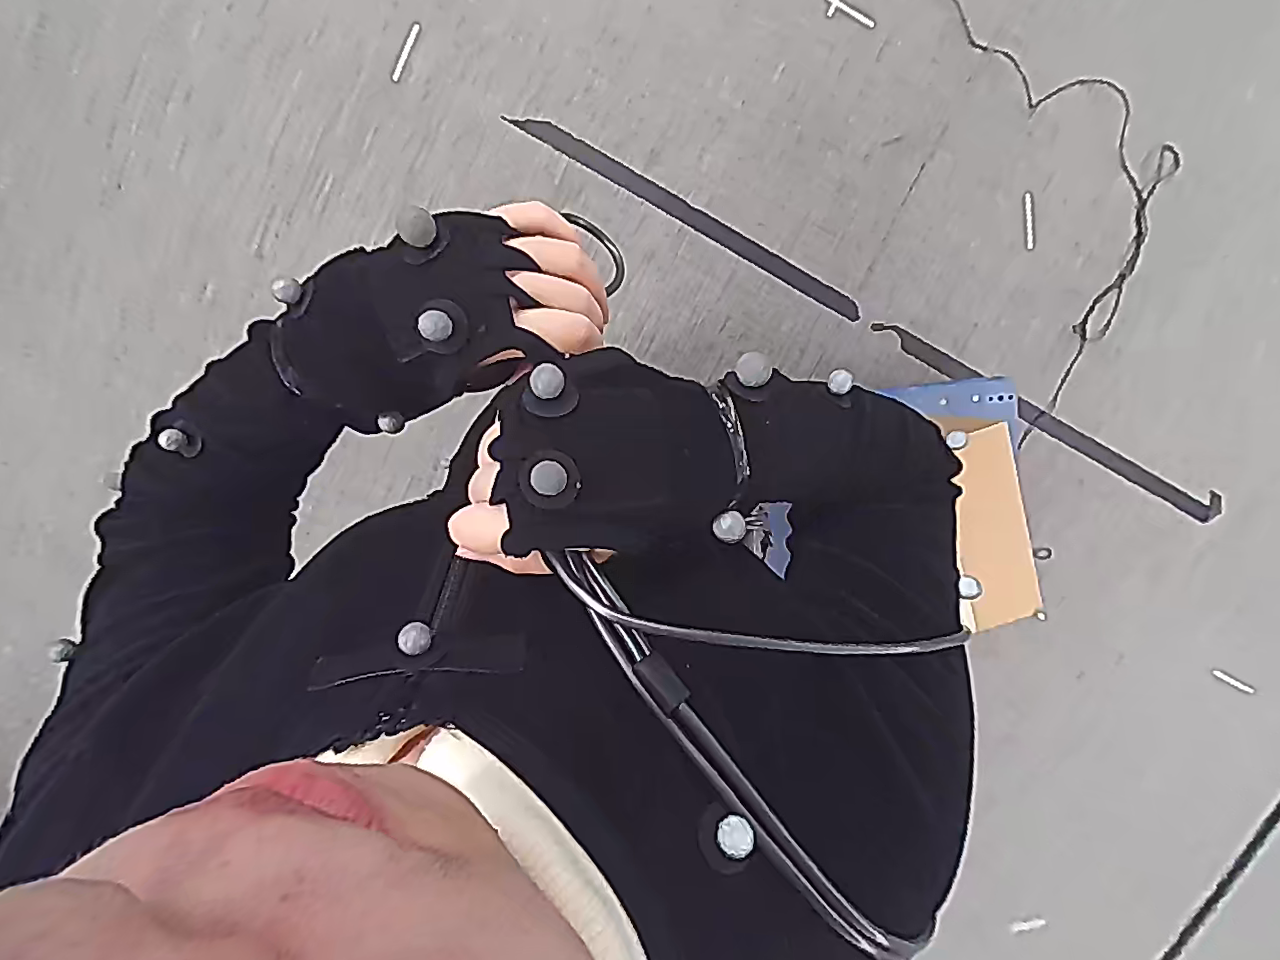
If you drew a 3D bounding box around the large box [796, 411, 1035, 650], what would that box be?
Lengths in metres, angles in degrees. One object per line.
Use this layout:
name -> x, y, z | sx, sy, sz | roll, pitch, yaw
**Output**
large box -> 0.586, 0.088, 1.202 | 0.320, 0.320, 0.408 | -17, 101, 2
